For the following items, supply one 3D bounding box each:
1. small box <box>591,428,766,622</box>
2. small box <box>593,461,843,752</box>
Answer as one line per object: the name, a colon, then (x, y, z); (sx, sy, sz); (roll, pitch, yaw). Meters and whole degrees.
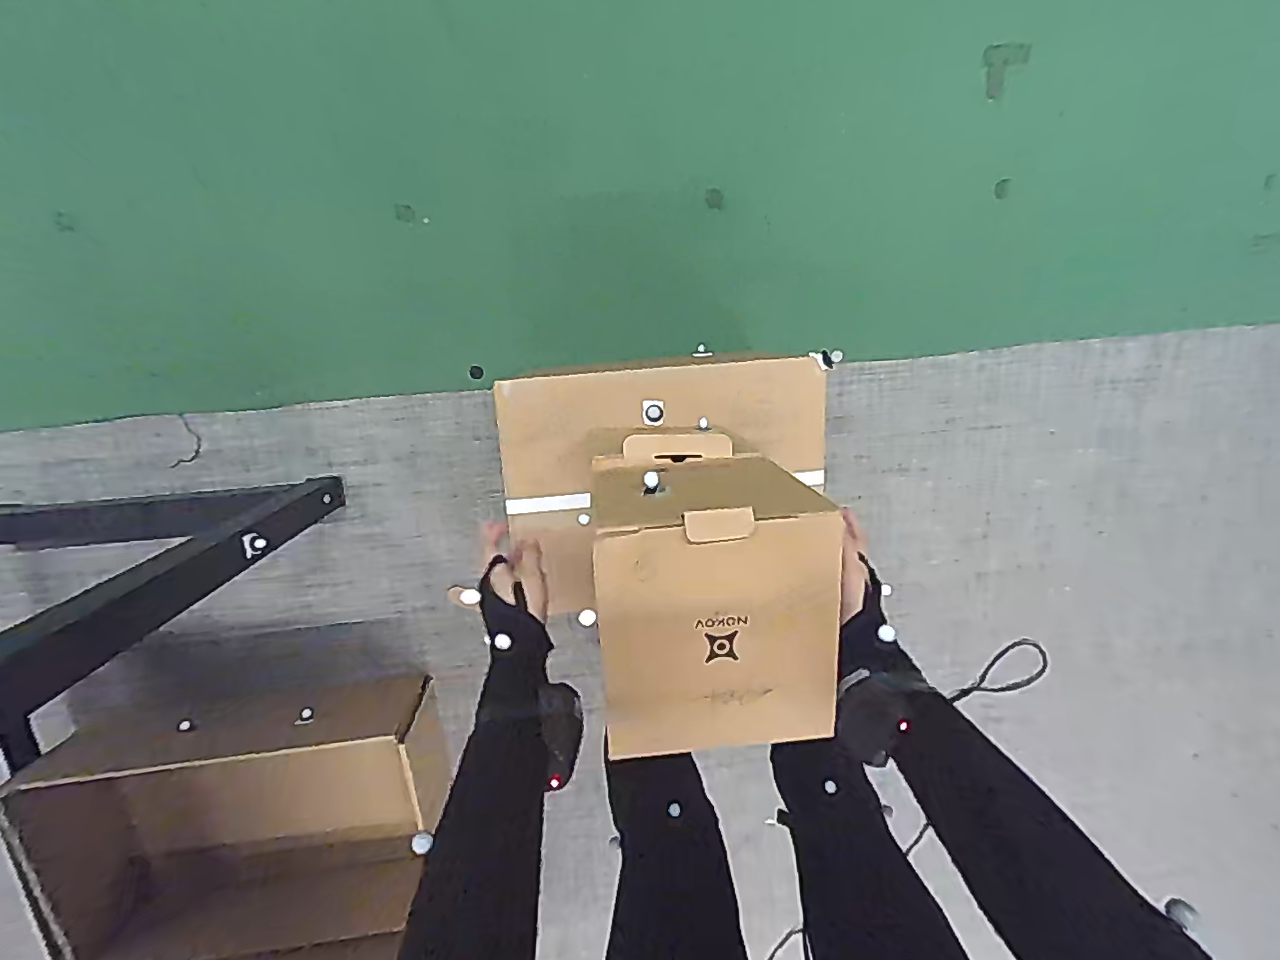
small box: (0.030, 0.038, 0.598); (0.168, 0.176, 0.179); (-1, 105, -5)
small box: (0.048, 0.084, 0.443); (0.168, 0.176, 0.179); (-4, 105, -3)
